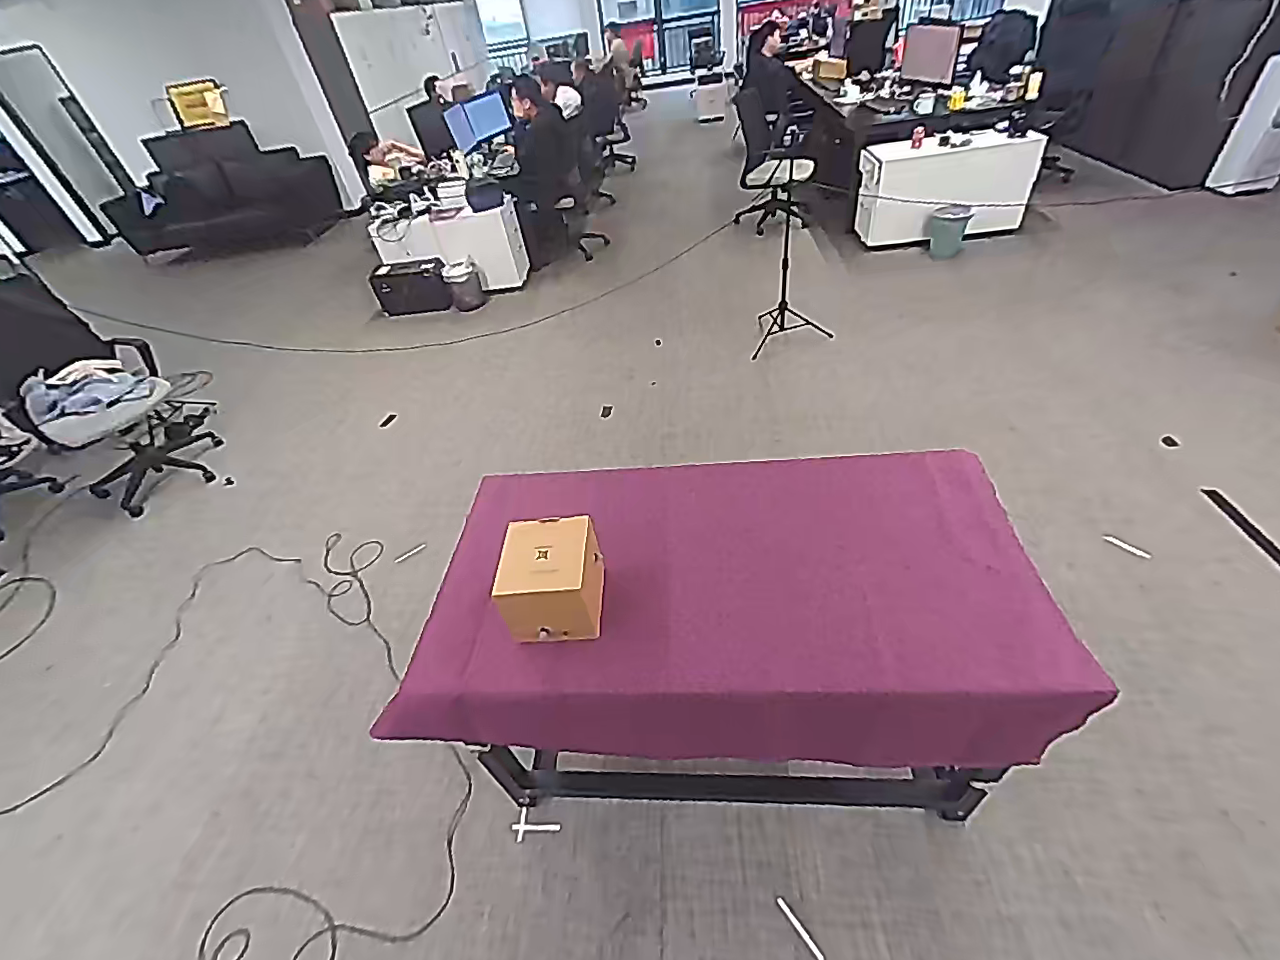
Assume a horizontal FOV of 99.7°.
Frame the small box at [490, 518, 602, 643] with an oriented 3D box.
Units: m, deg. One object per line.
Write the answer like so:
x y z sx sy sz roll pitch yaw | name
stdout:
-0.172 0.197 1.058 0.168 0.176 0.179 -5 43 6 | small box
